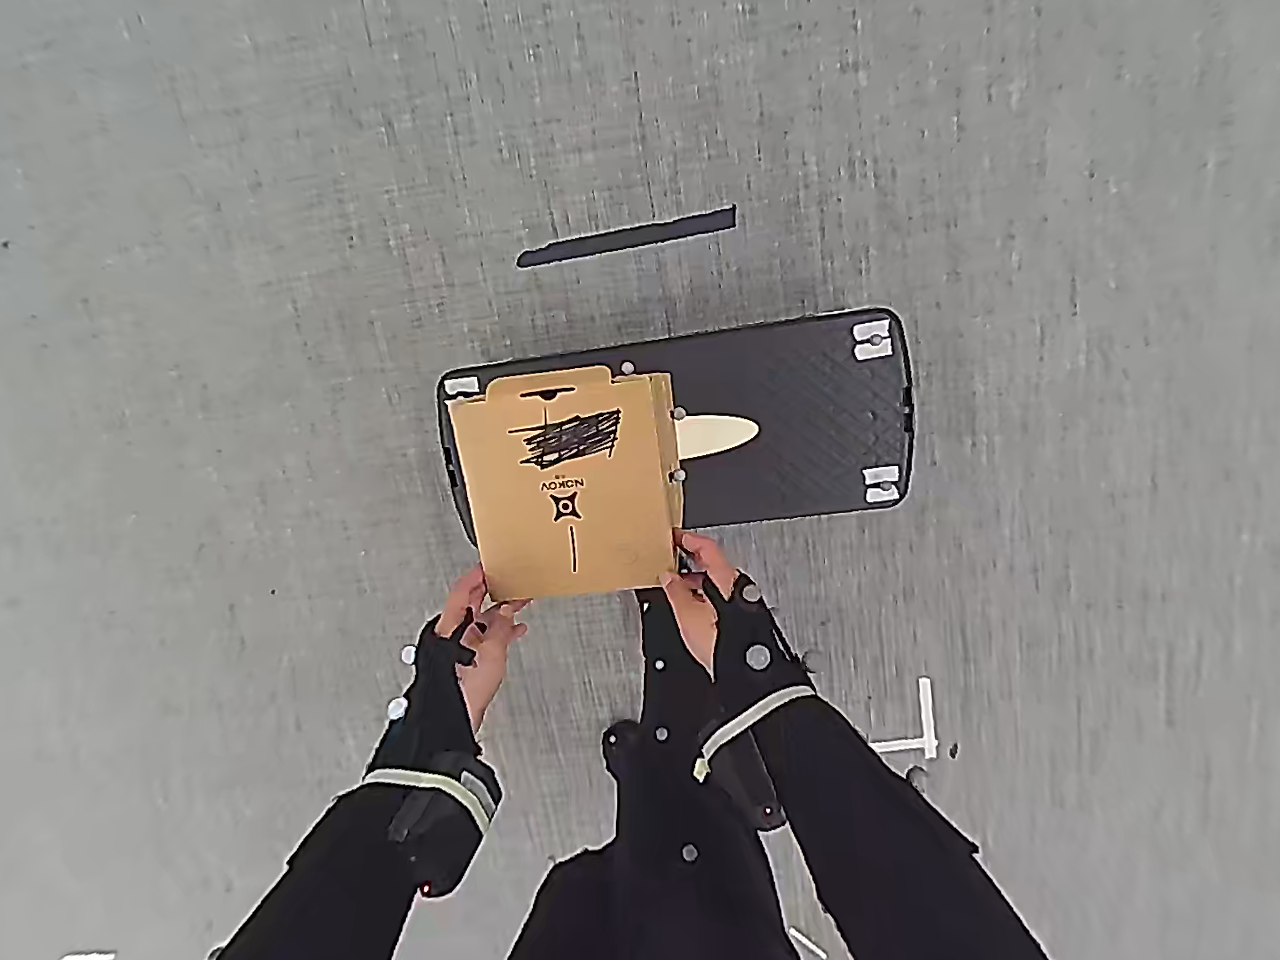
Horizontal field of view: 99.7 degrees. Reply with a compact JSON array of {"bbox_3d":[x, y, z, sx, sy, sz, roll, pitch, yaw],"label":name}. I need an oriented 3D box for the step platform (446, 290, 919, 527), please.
[{"bbox_3d":[0.056,-0.099,0.845,0.684,0.204,0.286,-7,101,7],"label":"step platform"}]

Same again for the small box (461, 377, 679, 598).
[{"bbox_3d":[-0.052,-0.004,0.528,0.168,0.176,0.179,-6,102,6],"label":"small box"}]
